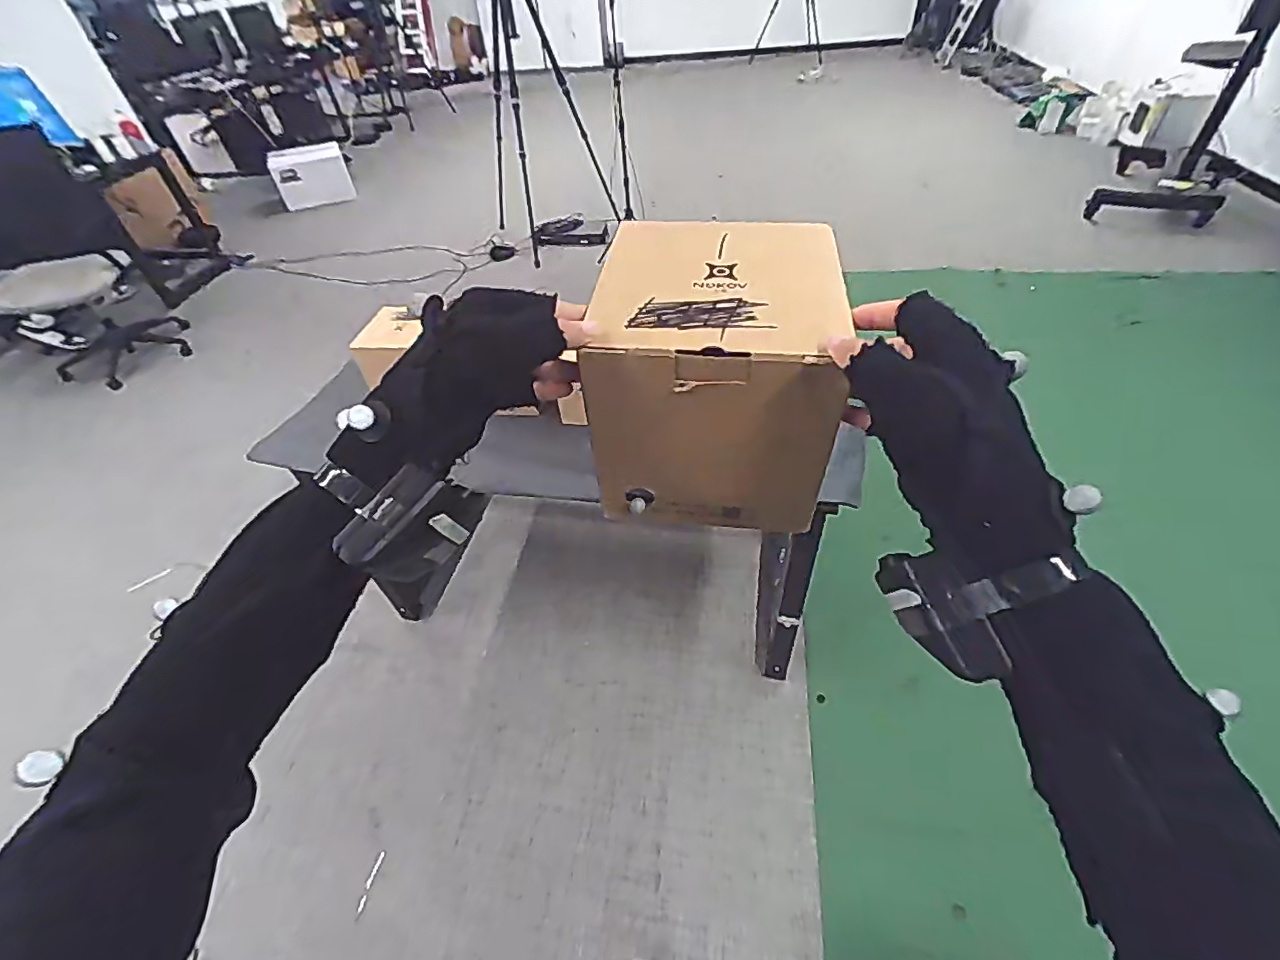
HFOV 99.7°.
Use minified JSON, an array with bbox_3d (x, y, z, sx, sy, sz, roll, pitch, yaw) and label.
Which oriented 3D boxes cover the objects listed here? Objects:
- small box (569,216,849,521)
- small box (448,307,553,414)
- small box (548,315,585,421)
[{"bbox_3d":[0.054,-0.086,0.424,0.168,0.176,0.179,4,48,7],"label":"small box"},{"bbox_3d":[-0.297,-0.267,1.204,0.168,0.176,0.179,2,46,8],"label":"small box"},{"bbox_3d":[-0.081,-0.235,1.154,0.168,0.176,0.179,3,45,8],"label":"small box"}]
